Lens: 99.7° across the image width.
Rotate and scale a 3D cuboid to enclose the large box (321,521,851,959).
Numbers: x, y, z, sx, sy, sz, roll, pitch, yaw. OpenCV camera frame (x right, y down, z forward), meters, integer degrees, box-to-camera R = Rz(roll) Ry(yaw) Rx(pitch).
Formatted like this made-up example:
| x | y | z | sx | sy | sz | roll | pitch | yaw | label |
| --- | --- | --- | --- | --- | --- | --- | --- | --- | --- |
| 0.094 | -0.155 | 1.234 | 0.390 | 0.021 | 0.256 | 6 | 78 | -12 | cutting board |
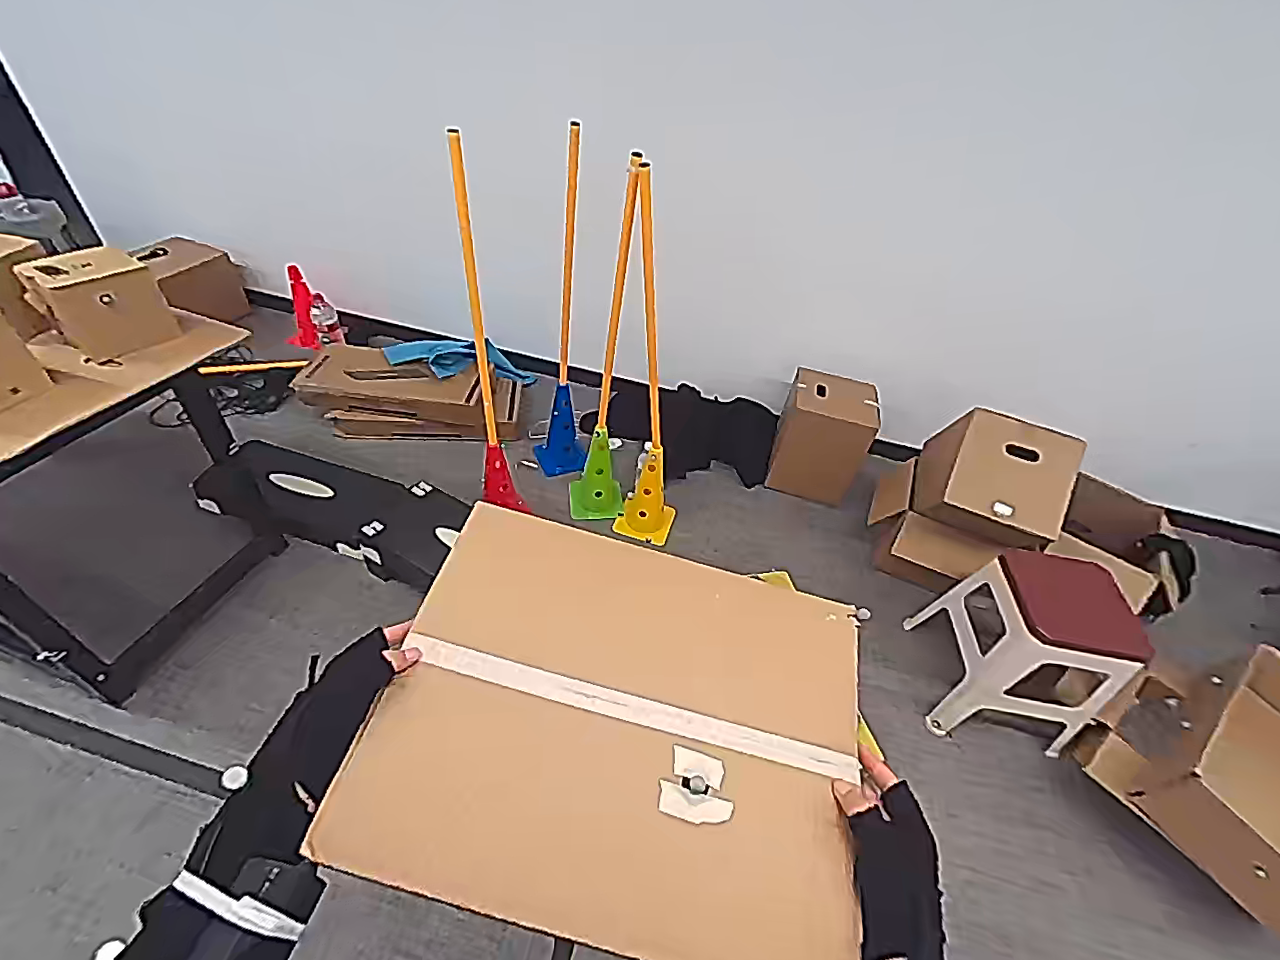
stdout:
| x | y | z | sx | sy | sz | roll | pitch | yaw | label |
| --- | --- | --- | --- | --- | --- | --- | --- | --- | --- |
| -0.034 | 0.295 | 0.594 | 0.408 | 0.320 | 0.320 | 16 | 54 | 1 | large box |
